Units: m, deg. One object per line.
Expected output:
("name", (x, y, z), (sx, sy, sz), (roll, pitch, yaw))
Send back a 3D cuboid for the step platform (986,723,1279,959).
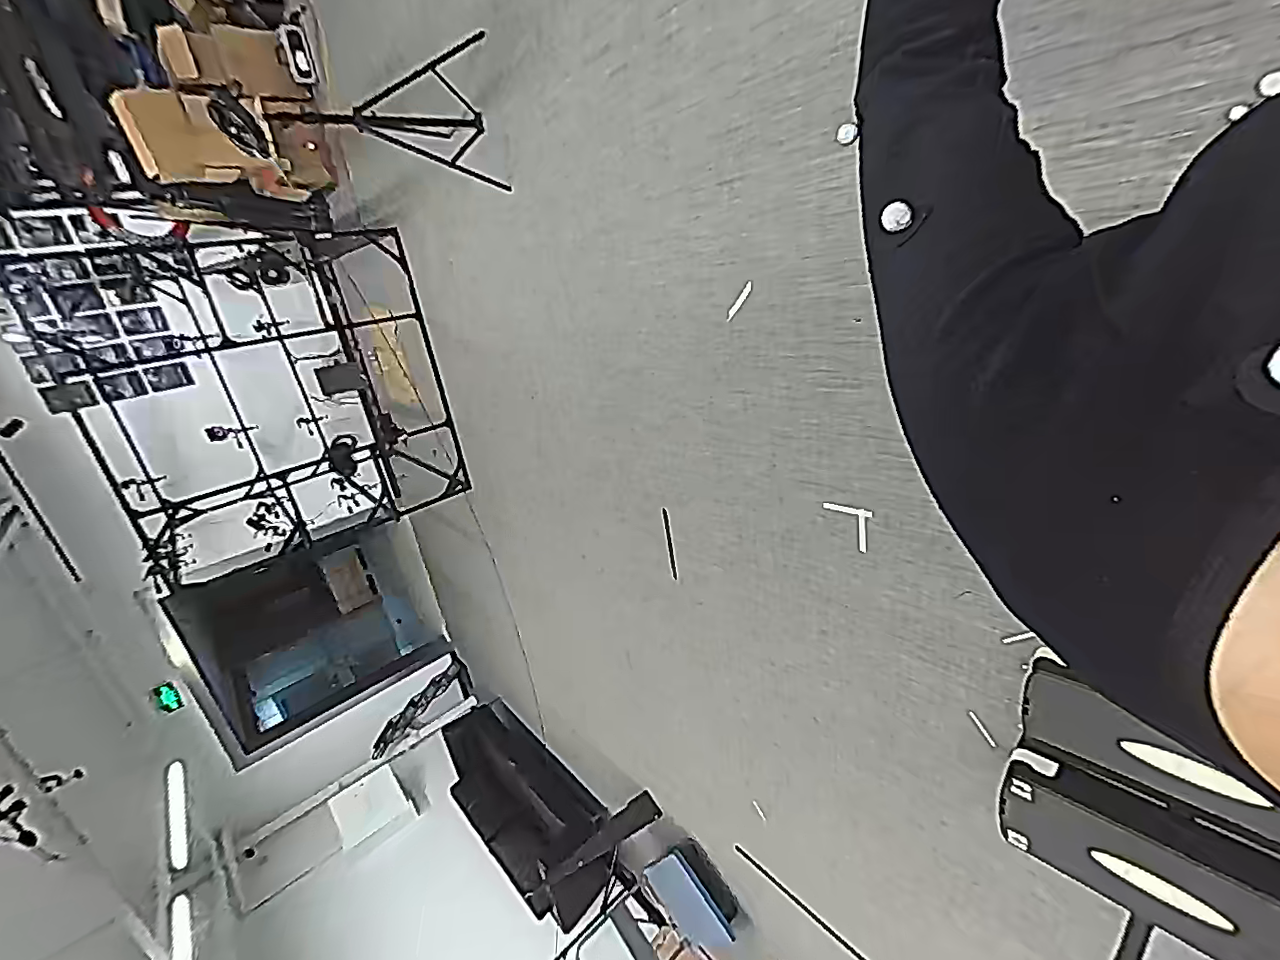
("step platform", (1.278, 0.925, 1.367), (0.684, 0.204, 0.286), (15, 121, 50))
